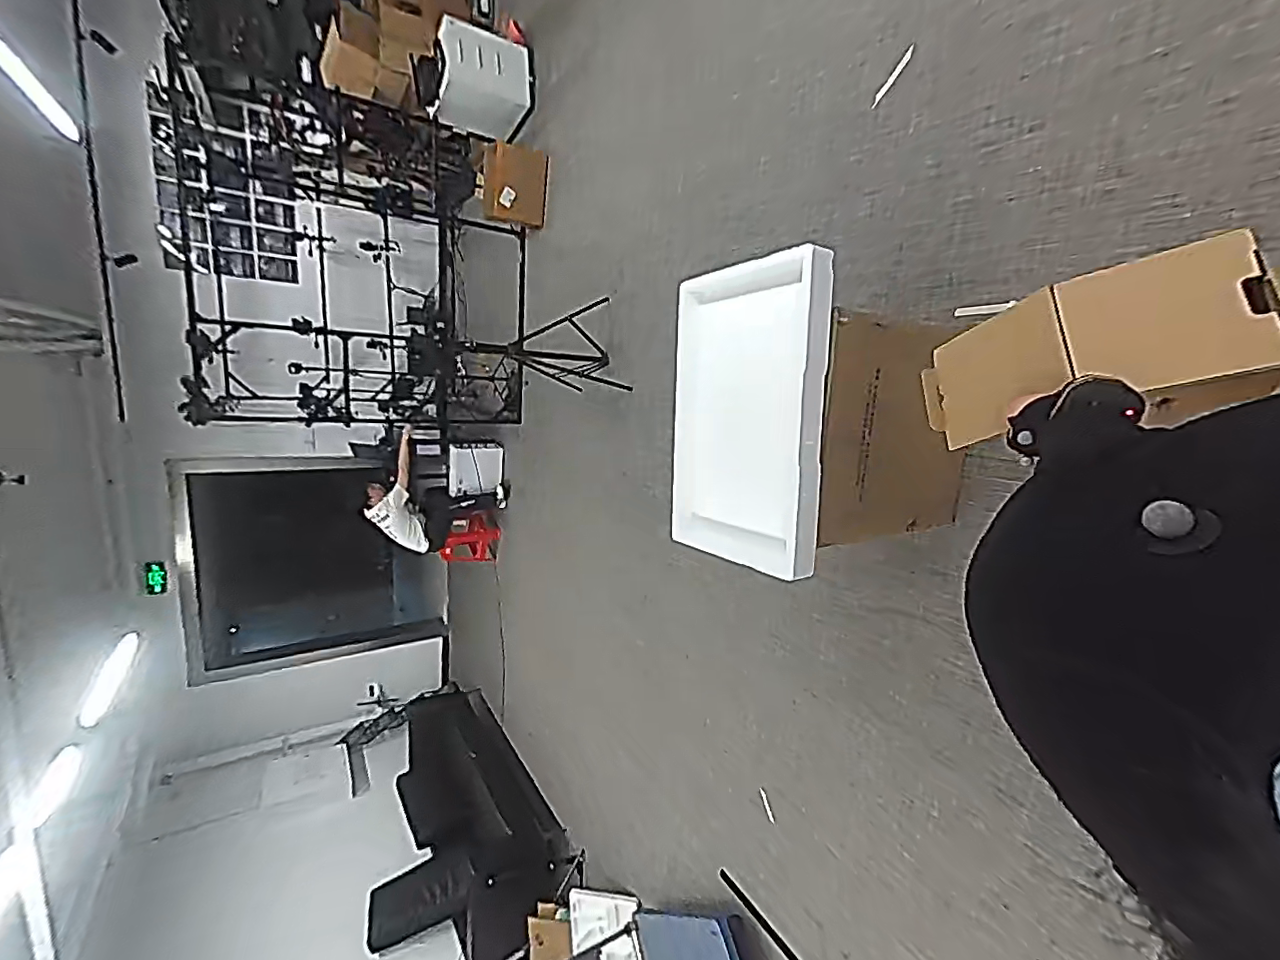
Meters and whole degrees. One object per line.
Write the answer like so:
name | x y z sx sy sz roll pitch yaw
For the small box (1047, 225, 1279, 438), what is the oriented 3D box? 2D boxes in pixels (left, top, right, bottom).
small box | 0.619 -0.161 0.659 0.179 0.176 0.168 -10 71 34
